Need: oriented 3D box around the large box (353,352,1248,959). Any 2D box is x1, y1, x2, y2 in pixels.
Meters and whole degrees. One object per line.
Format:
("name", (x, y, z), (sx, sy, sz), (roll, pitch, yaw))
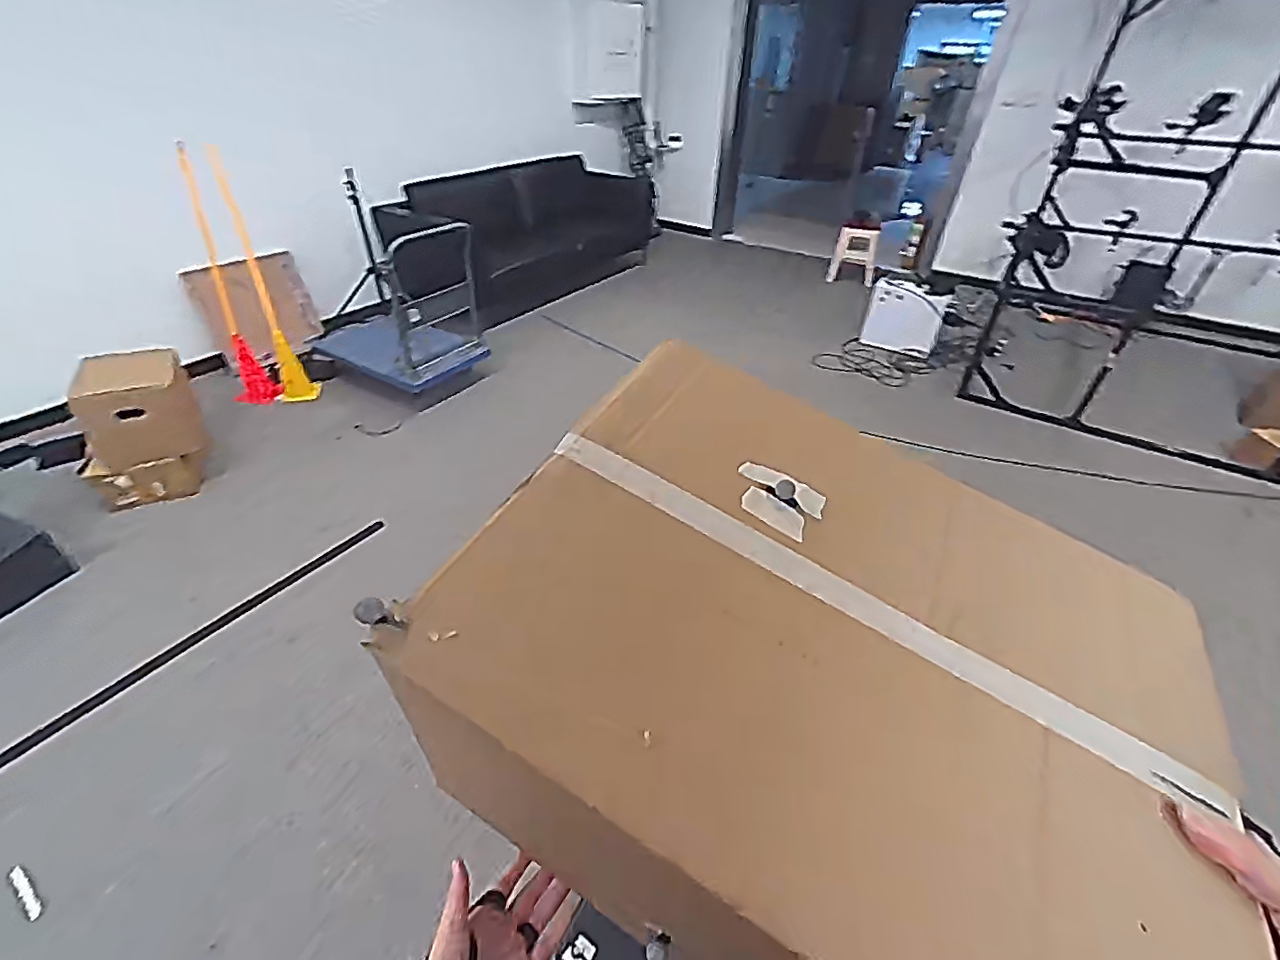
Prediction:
("large box", (0.086, 0.173, 0.413), (0.408, 0.320, 0.320), (28, 49, 12))
